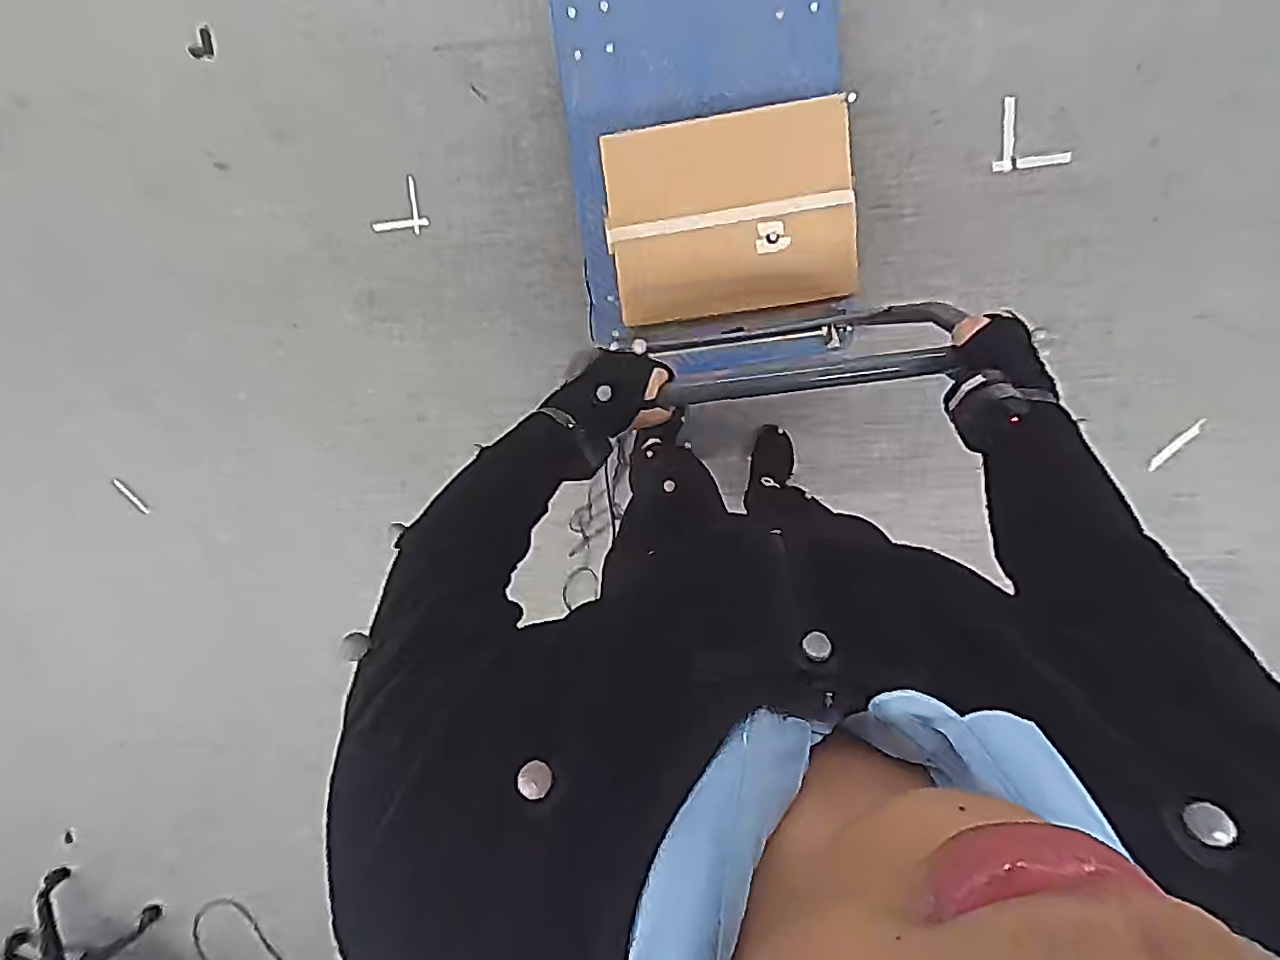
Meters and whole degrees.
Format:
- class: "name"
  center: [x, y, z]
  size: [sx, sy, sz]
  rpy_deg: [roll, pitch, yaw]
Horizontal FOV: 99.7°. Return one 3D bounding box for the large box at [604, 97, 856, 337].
- class: "large box"
  center: [0.163, -0.474, 1.063]
  size: [0.408, 0.320, 0.320]
  rpy_deg: [-7, 102, 5]
